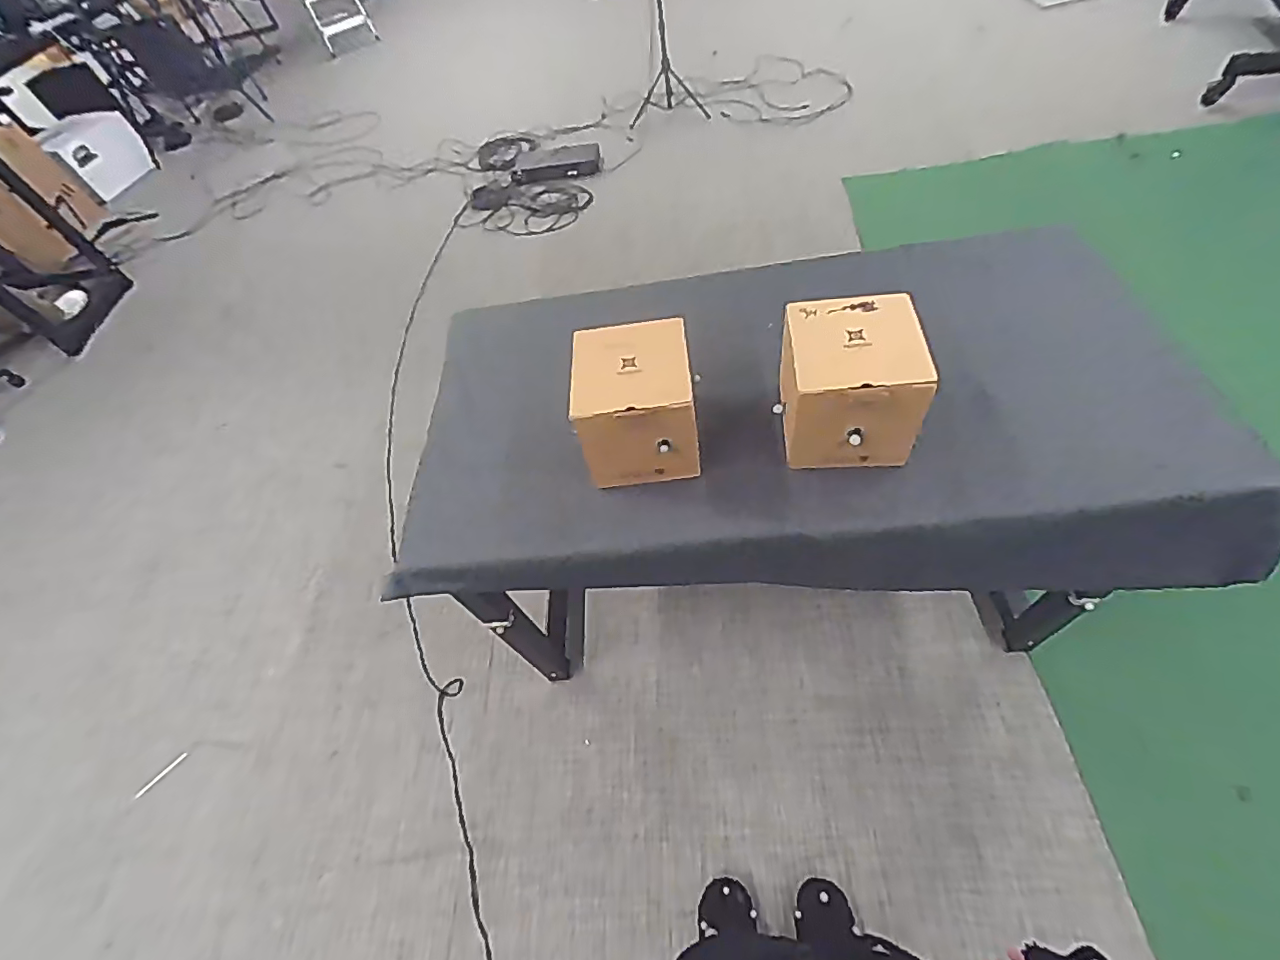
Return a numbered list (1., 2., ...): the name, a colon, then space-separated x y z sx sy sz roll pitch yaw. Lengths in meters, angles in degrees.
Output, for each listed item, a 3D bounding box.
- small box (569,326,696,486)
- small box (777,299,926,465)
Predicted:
1. small box: -0.007 -0.103 0.824 0.168 0.176 0.179 -7 53 5
2. small box: 0.290 -0.132 0.782 0.168 0.176 0.179 -2 56 10
